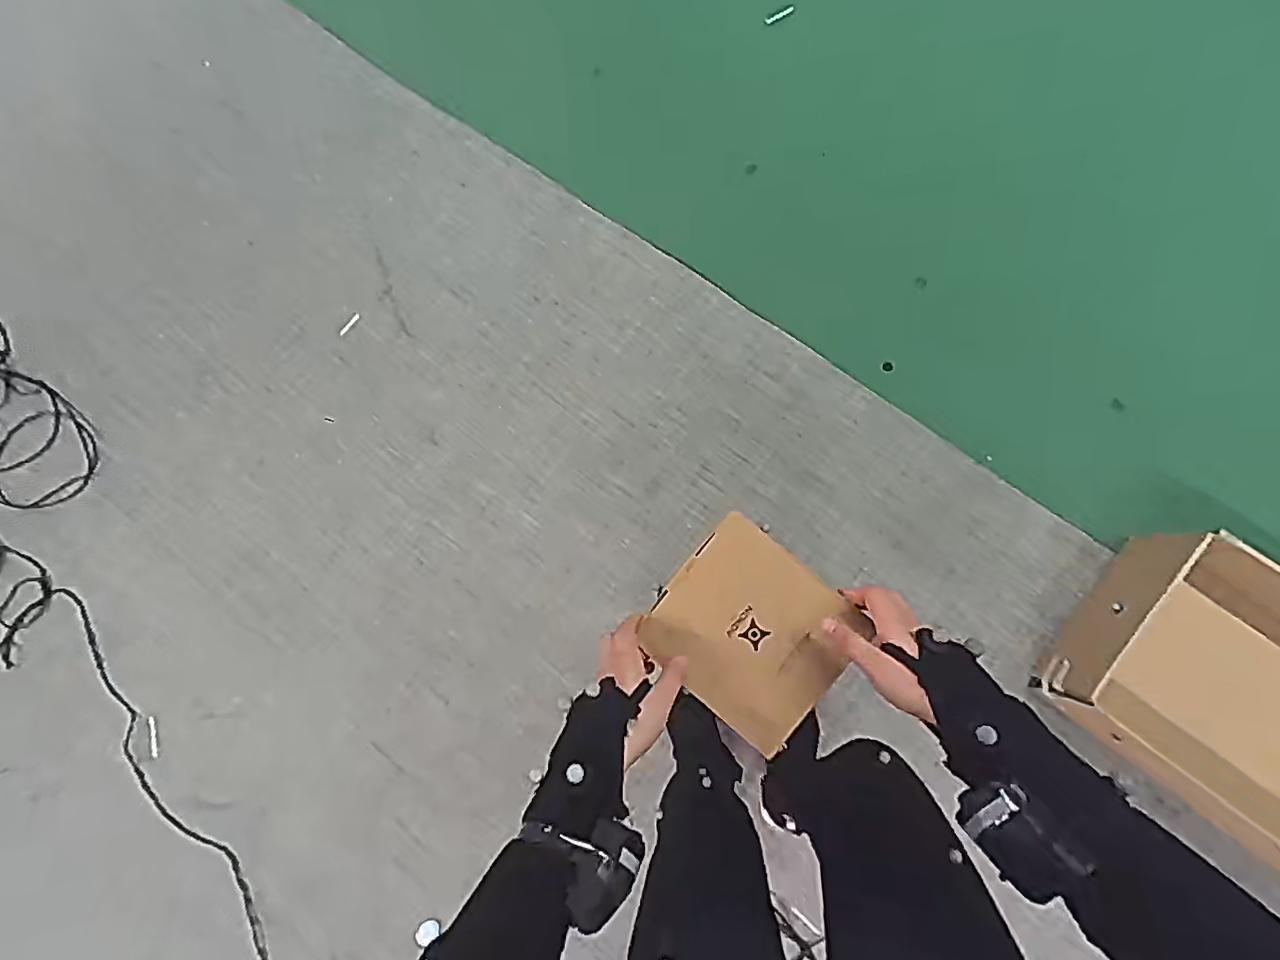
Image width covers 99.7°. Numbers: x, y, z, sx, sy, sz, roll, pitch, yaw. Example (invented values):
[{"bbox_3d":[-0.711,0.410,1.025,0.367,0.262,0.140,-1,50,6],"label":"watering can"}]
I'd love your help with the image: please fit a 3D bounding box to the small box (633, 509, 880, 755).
[{"bbox_3d":[0.117,0.149,0.593,0.179,0.176,0.168,38,92,7],"label":"small box"}]
